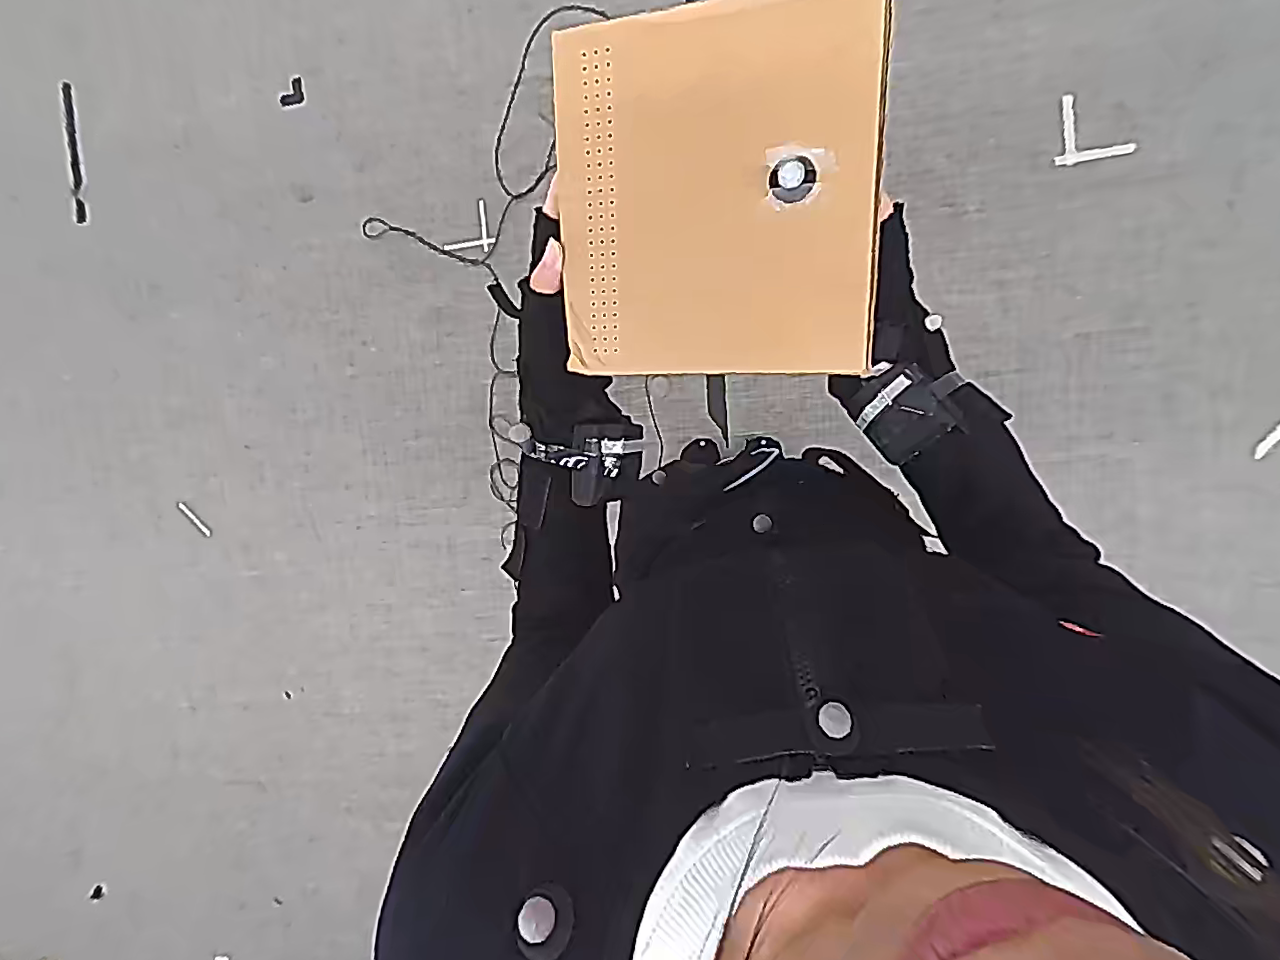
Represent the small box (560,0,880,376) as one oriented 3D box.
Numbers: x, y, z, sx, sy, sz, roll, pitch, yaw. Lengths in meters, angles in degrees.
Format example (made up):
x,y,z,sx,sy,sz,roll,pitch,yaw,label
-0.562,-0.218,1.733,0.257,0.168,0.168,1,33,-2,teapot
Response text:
x,y,z,sx,sy,sz,roll,pitch,yaw,label
0.055,-0.161,0.360,0.176,0.168,0.179,3,103,18,small box
